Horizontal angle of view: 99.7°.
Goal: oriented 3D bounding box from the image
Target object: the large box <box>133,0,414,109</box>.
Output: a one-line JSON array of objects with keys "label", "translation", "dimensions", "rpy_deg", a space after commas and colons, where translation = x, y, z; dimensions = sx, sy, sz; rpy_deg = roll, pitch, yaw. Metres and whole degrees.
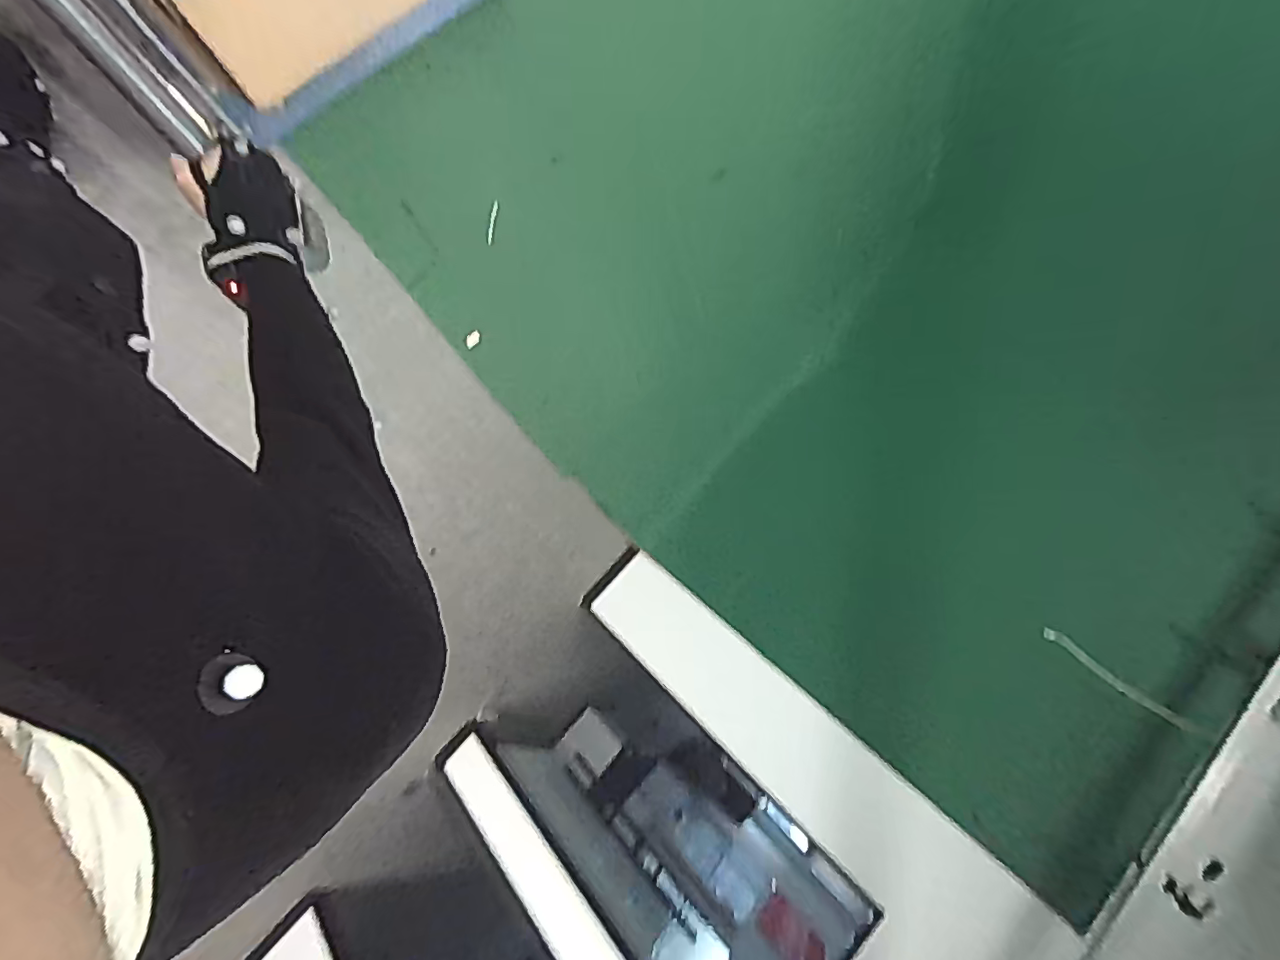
[{"label": "large box", "translation": [-0.600, -0.855, 0.823], "dimensions": [0.408, 0.320, 0.320], "rpy_deg": [-46, 148, -12]}]
